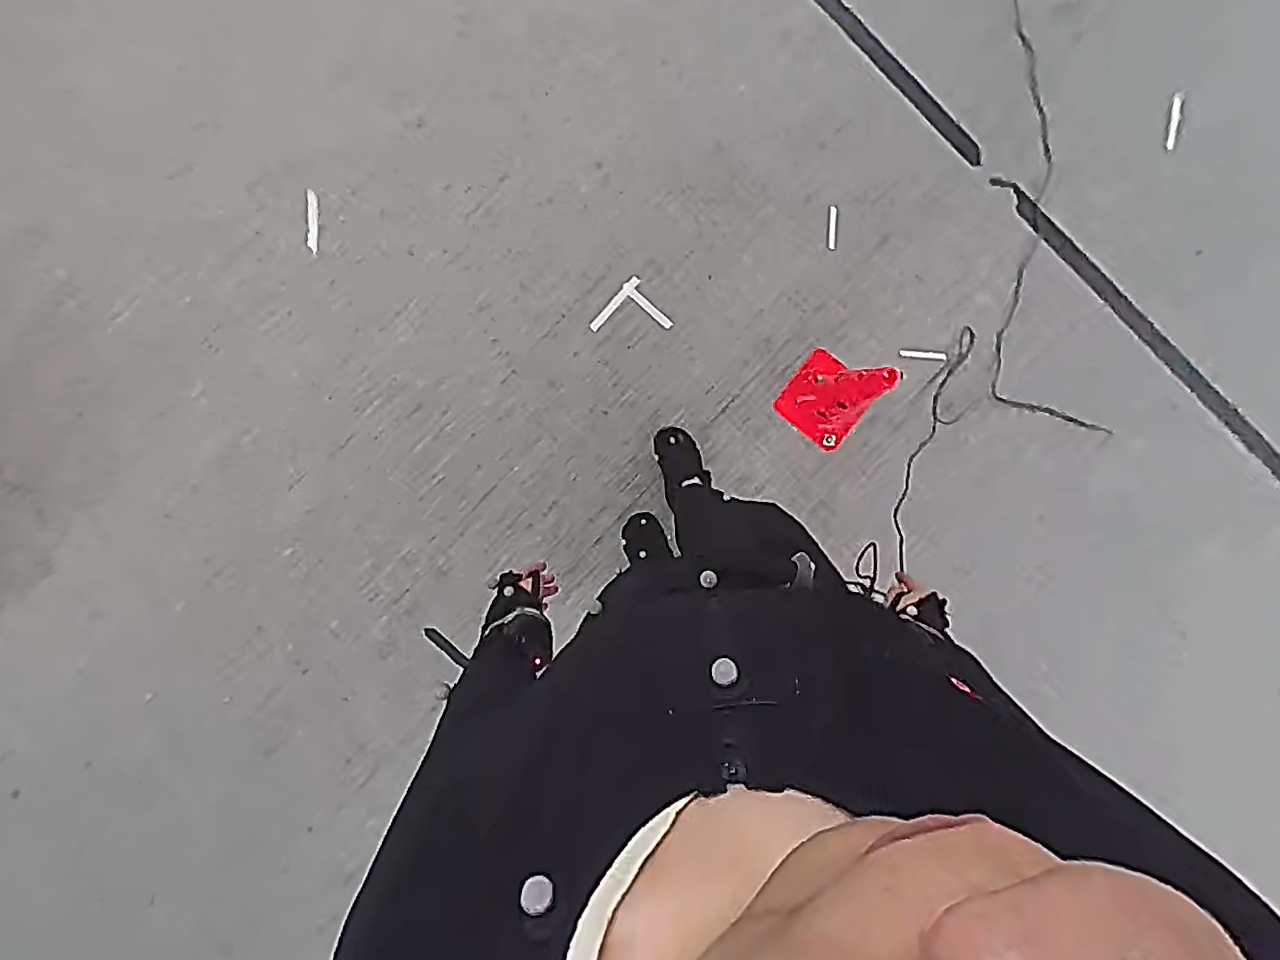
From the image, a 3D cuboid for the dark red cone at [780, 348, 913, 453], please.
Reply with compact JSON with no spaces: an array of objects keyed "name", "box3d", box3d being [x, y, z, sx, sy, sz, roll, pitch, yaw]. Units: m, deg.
[{"name":"dark red cone","box3d":[0.470,-0.194,1.160,0.202,0.394,0.201,37,89,-1]}]
